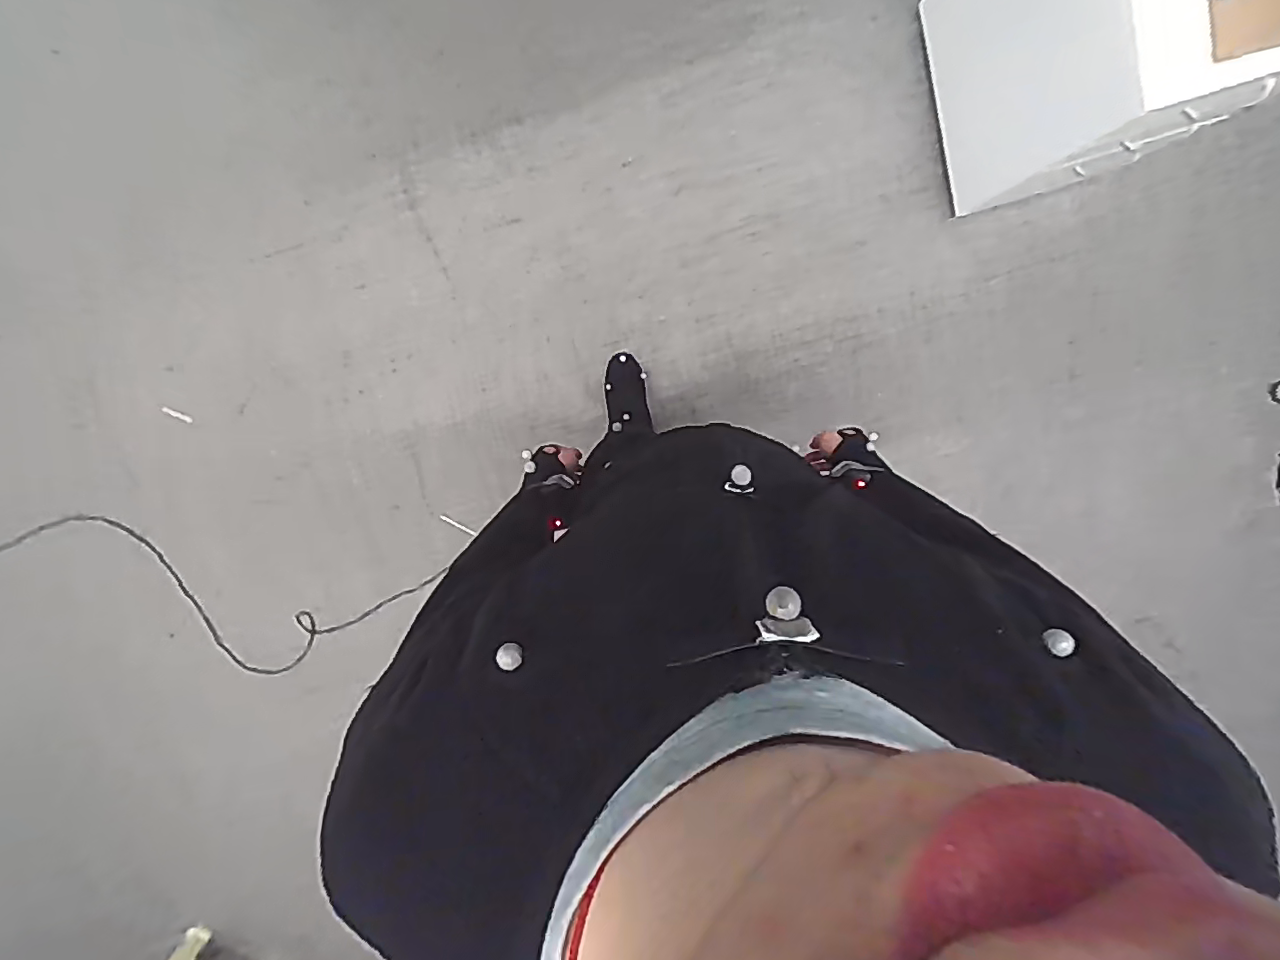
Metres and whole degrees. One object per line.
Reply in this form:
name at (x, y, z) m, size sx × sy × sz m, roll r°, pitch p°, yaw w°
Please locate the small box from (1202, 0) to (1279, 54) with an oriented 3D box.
small box at (0.927, -0.726, 0.735) m, size 0.168 × 0.176 × 0.179 m, roll -14°, pitch 100°, yaw 3°
